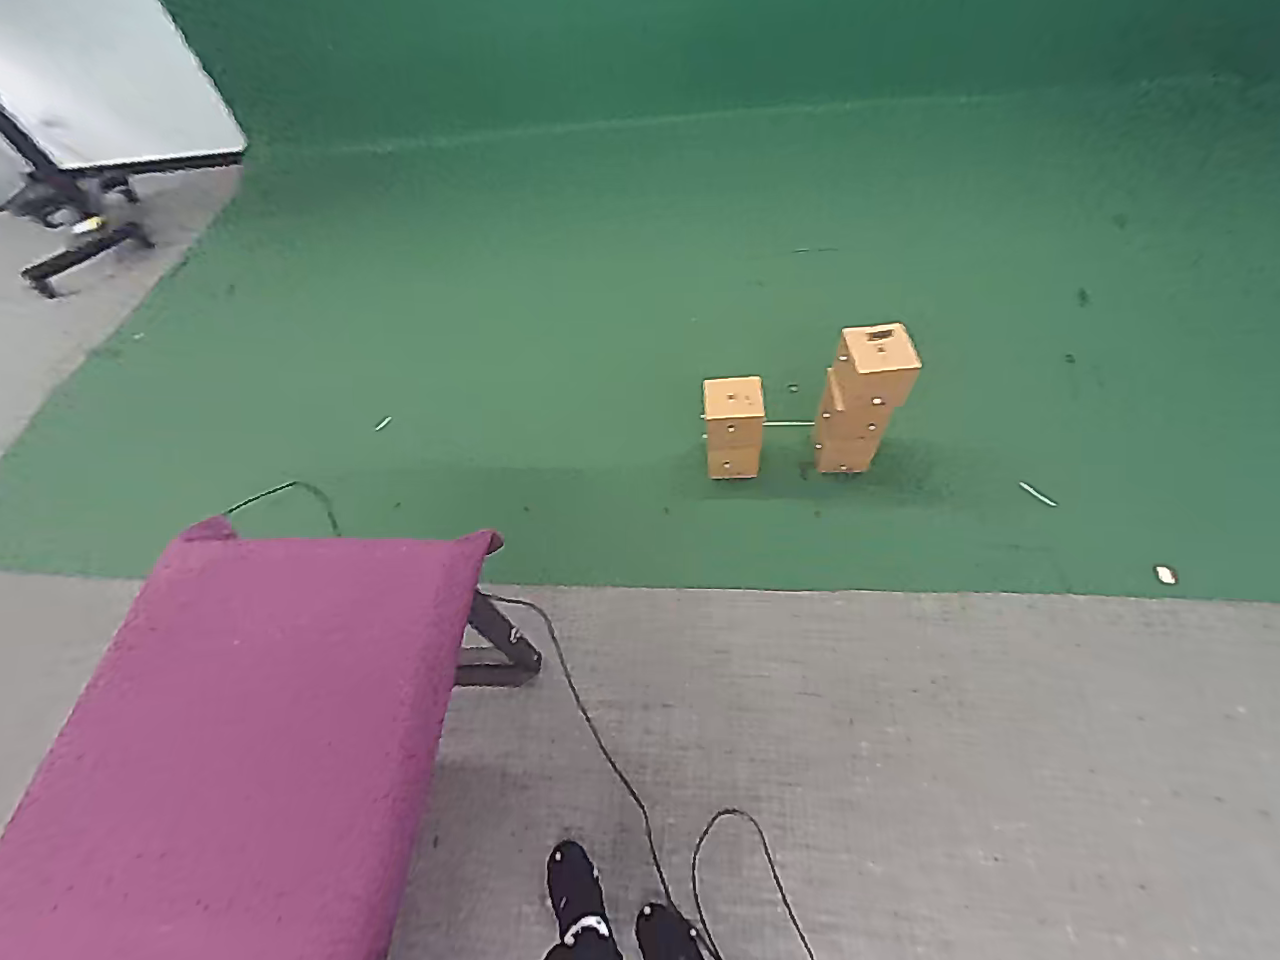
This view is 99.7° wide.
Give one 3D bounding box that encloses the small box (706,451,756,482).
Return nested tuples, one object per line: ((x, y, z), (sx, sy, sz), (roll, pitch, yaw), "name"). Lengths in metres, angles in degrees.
((0.311, -0.104, 1.870), (0.168, 0.176, 0.179), (-2, 55, 7), "small box")

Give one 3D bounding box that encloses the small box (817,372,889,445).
((0.665, -0.223, 1.701), (0.168, 0.176, 0.179), (-1, 56, 6), "small box")

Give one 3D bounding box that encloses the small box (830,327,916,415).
((0.663, -0.313, 1.564), (0.168, 0.176, 0.179), (-6, 58, 3), "small box")

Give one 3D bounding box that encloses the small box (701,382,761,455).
((0.290, -0.193, 1.733), (0.179, 0.176, 0.168), (-2, 56, 6), "small box")
